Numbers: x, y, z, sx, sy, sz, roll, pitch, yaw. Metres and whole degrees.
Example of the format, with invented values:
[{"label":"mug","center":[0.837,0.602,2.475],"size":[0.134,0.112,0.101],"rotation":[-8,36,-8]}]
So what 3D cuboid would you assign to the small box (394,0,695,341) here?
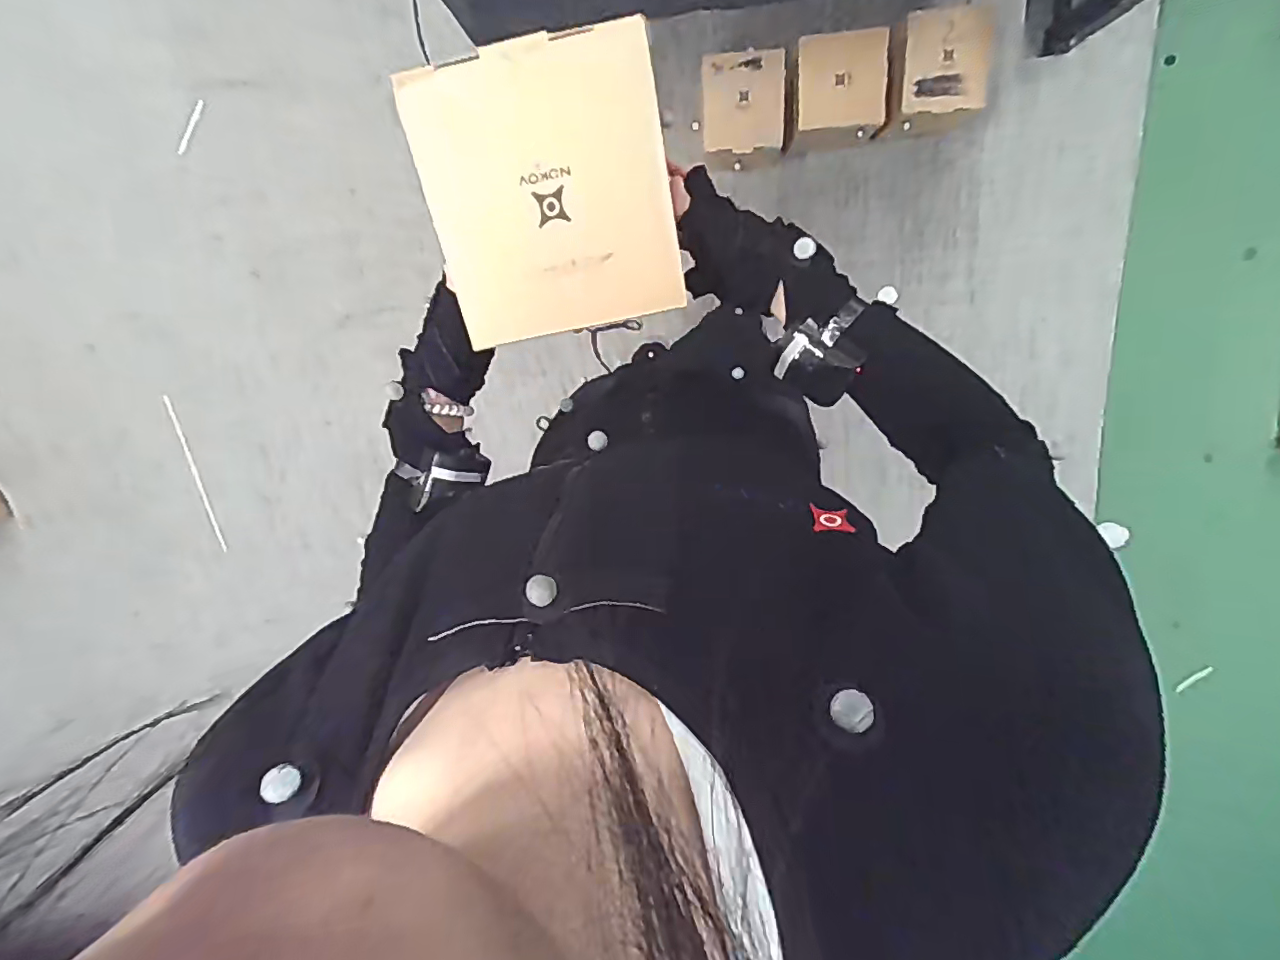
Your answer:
[{"label":"small box","center":[-0.057,-0.223,0.427],"size":[0.168,0.176,0.179],"rotation":[-10,114,4]}]
